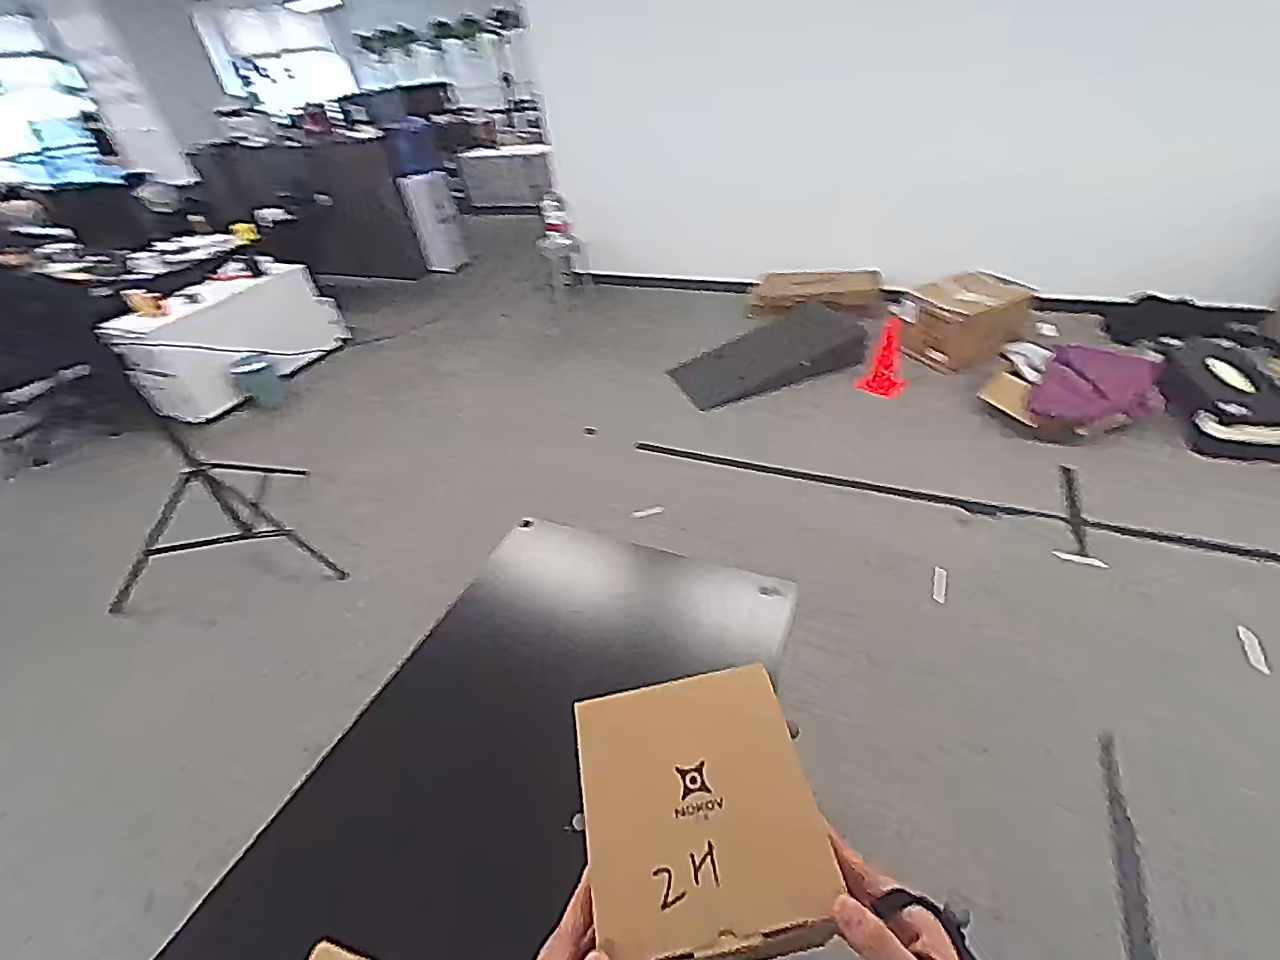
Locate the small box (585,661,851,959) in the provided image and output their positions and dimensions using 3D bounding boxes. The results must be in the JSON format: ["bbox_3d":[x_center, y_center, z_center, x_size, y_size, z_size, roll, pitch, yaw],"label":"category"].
[{"bbox_3d":[0.052,0.286,0.457,0.168,0.176,0.179,-11,43,-1],"label":"small box"}]

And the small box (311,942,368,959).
[{"bbox_3d":[-0.244,0.570,0.492,0.179,0.176,0.168,8,42,19],"label":"small box"}]
